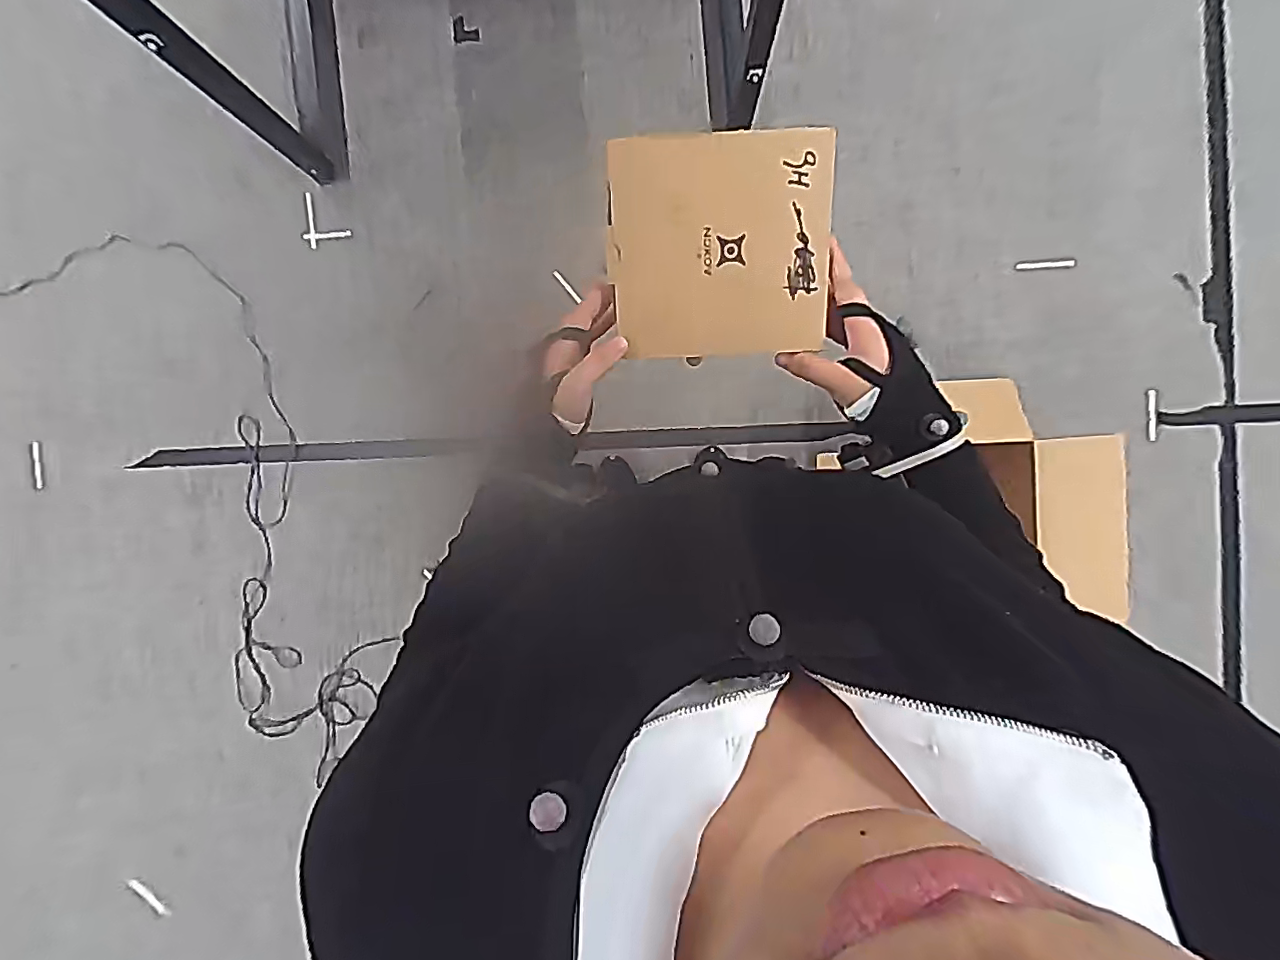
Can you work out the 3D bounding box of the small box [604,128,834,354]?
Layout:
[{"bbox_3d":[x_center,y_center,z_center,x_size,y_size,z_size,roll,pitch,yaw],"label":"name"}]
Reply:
[{"bbox_3d":[0.064,-0.205,0.506,0.179,0.176,0.168,-2,106,2],"label":"small box"}]
